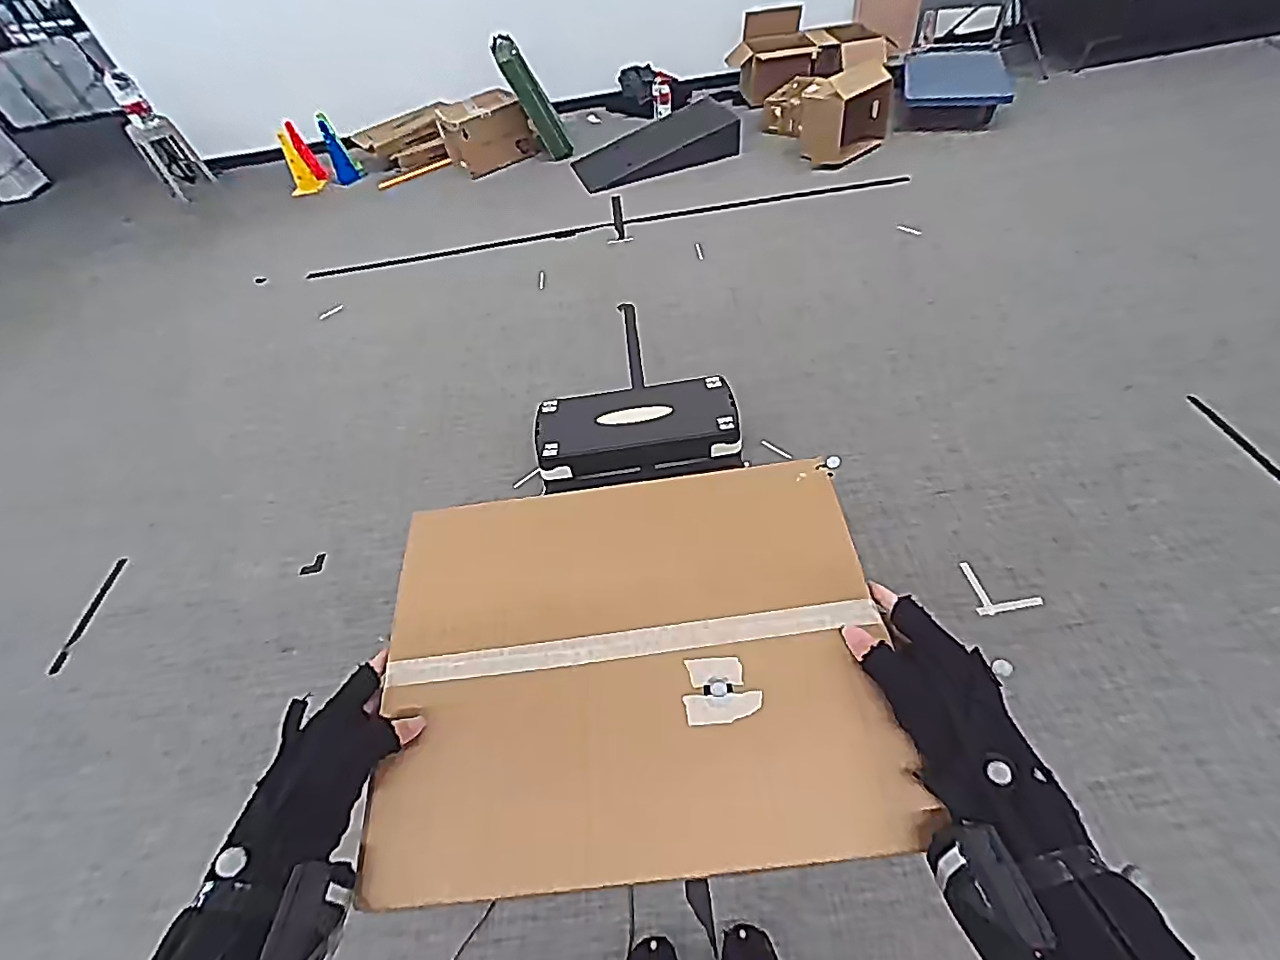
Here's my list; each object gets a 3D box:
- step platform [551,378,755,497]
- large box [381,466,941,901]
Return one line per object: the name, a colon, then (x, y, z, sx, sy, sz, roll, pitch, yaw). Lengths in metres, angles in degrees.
step platform: (0.041, -0.152, 1.853, 0.684, 0.204, 0.286, -9, 51, 1)
large box: (0.011, 0.222, 0.579, 0.408, 0.320, 0.320, -8, 57, 2)
